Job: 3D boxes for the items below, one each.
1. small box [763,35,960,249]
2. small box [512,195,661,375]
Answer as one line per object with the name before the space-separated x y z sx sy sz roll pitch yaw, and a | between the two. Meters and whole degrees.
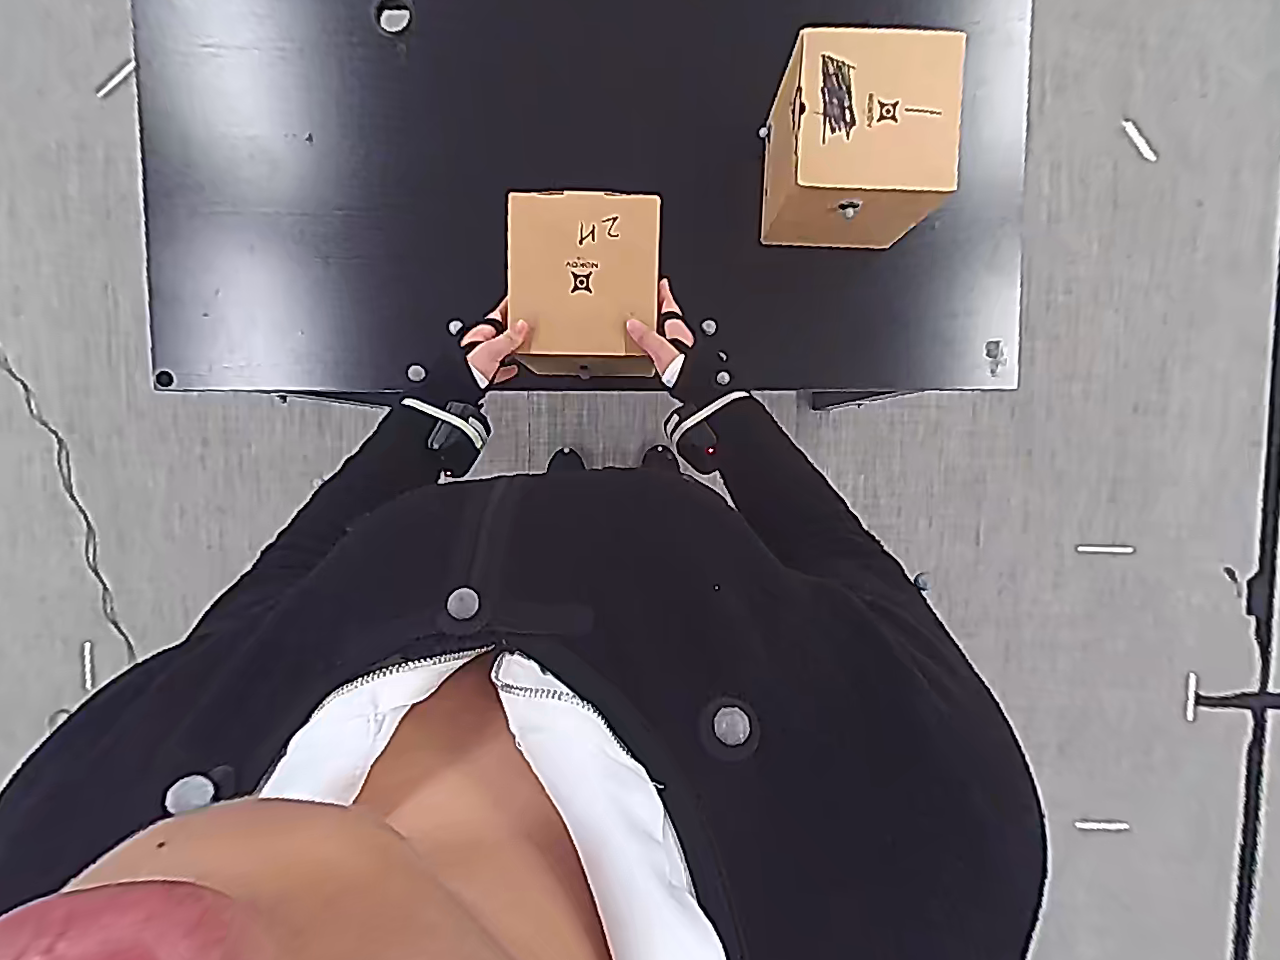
small box | 0.256 -0.399 0.667 0.179 0.176 0.168 2 93 0
small box | -0.059 -0.230 0.679 0.168 0.176 0.179 1 93 0
